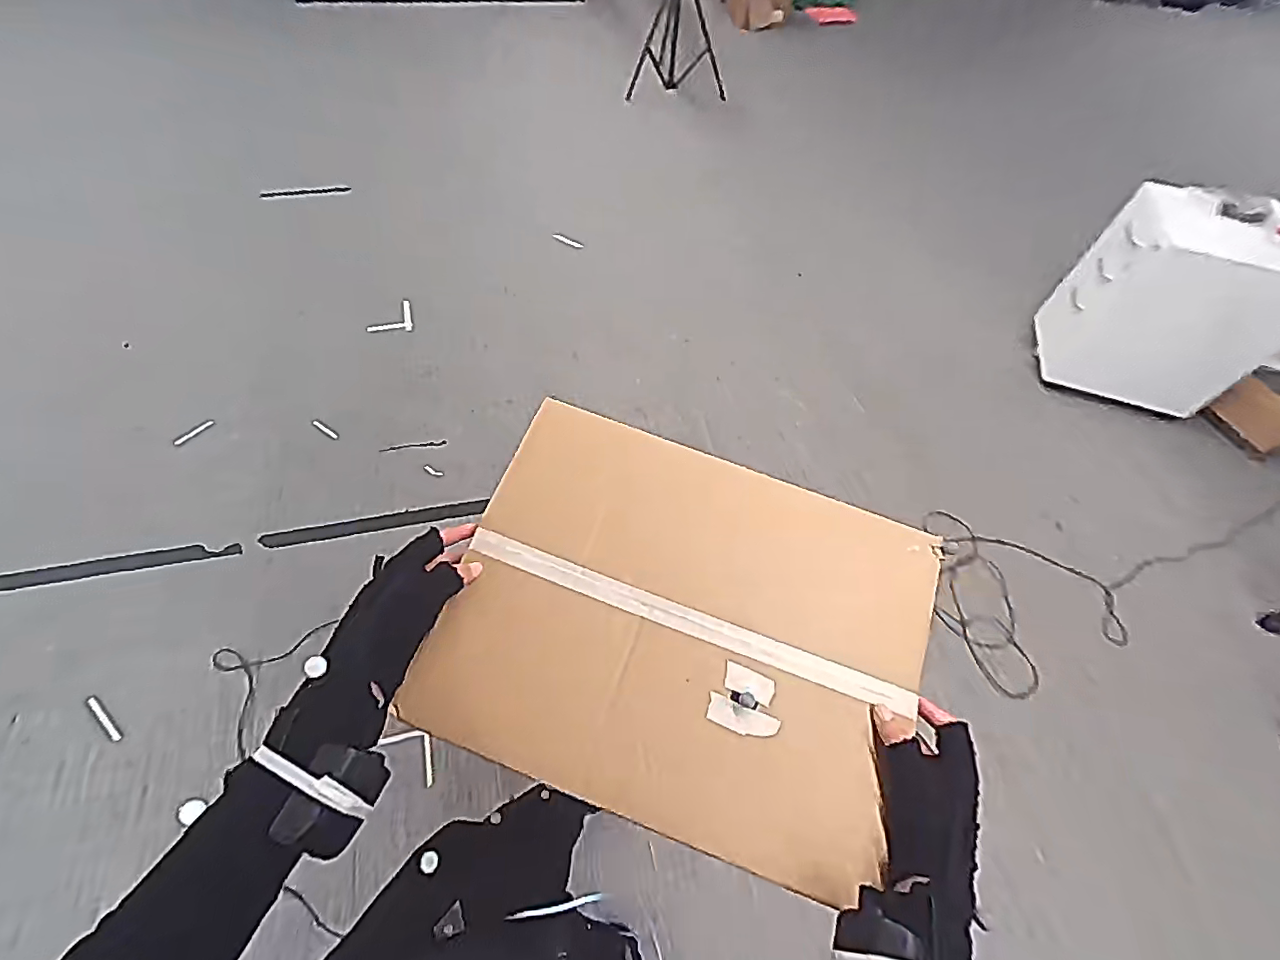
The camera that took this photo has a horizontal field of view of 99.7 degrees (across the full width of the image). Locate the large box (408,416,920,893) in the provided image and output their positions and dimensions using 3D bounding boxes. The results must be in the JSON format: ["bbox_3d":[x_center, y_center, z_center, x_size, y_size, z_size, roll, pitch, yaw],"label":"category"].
[{"bbox_3d":[0.030,0.182,0.628,0.408,0.320,0.320,20,69,5],"label":"large box"}]
